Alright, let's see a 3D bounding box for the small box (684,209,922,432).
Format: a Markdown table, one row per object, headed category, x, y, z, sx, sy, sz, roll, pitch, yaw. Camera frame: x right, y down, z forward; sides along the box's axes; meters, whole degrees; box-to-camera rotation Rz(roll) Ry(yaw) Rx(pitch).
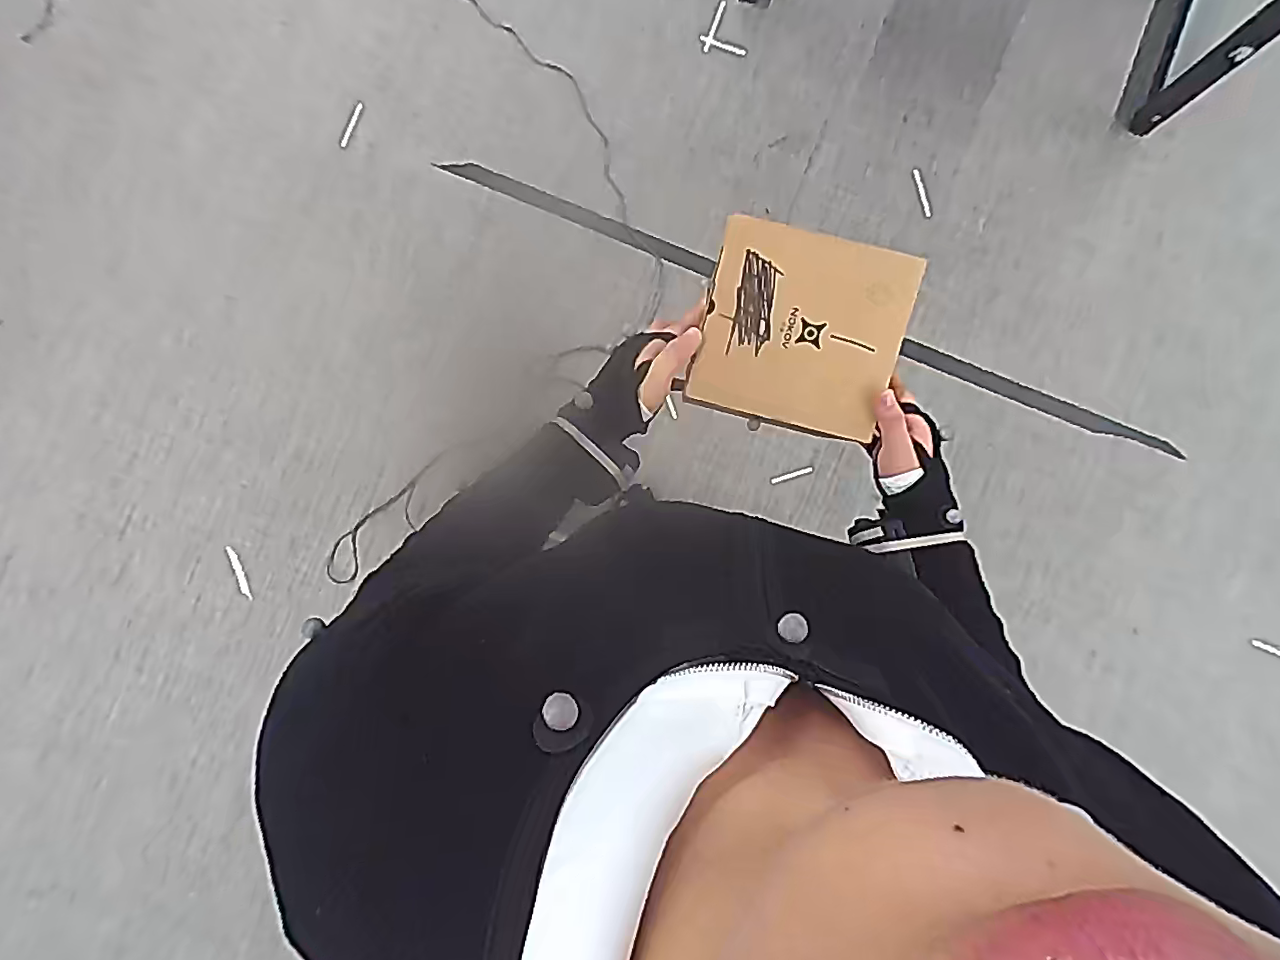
| category | x | y | z | sx | sy | sz | roll | pitch | yaw |
| --- | --- | --- | --- | --- | --- | --- | --- | --- | --- |
| small box | 0.149 | -0.150 | 0.563 | 0.179 | 0.176 | 0.168 | 15 | 98 | 2 |
